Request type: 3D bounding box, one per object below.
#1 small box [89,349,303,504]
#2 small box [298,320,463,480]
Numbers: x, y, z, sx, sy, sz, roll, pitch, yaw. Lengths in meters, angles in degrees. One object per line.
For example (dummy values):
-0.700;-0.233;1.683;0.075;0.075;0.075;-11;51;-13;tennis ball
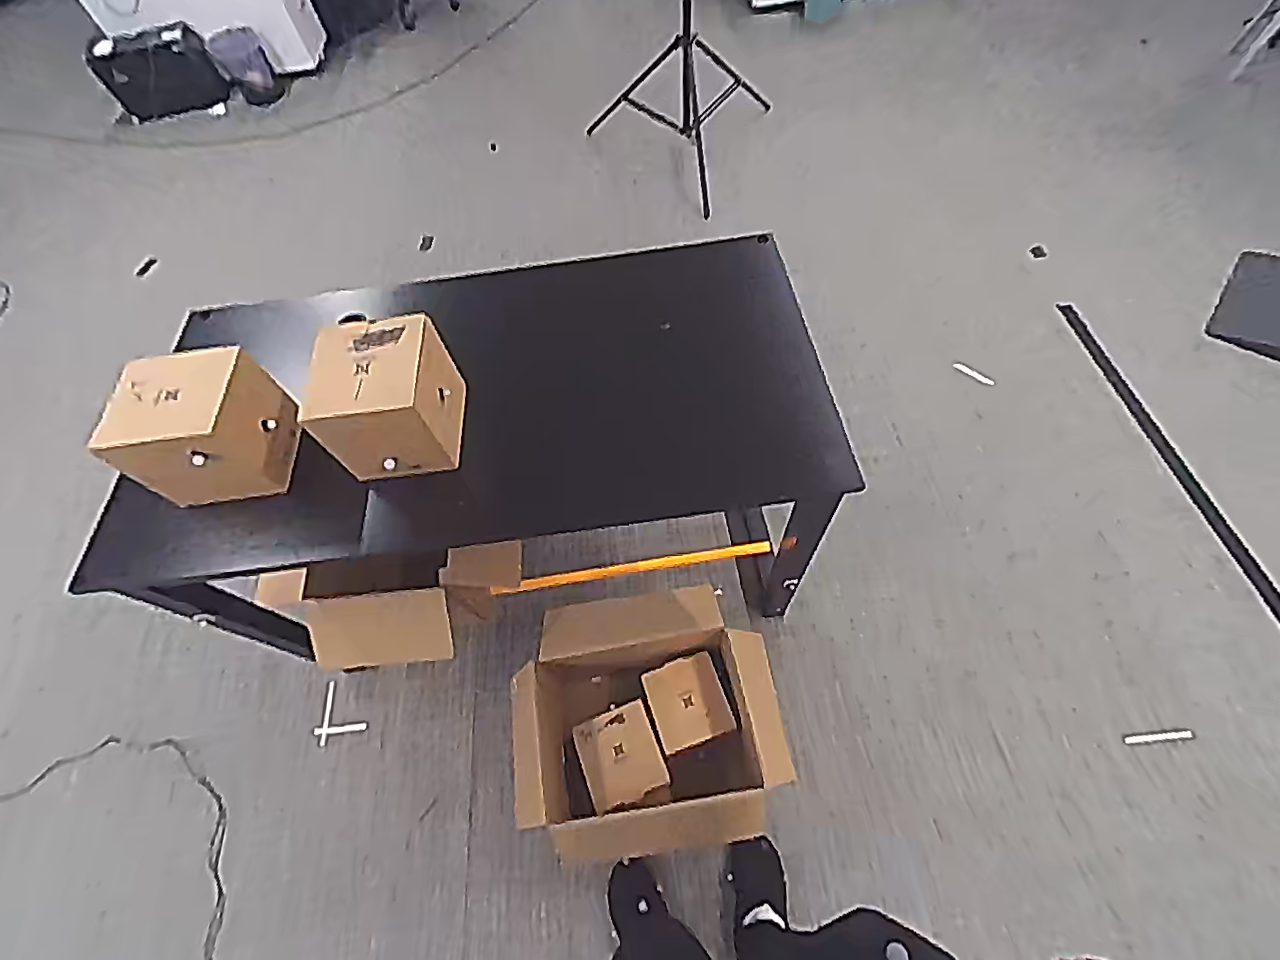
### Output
-0.670;-0.078;0.846;0.179;0.176;0.168;-8;59;0;small box
-0.389;-0.122;0.849;0.168;0.176;0.179;-7;60;1;small box
